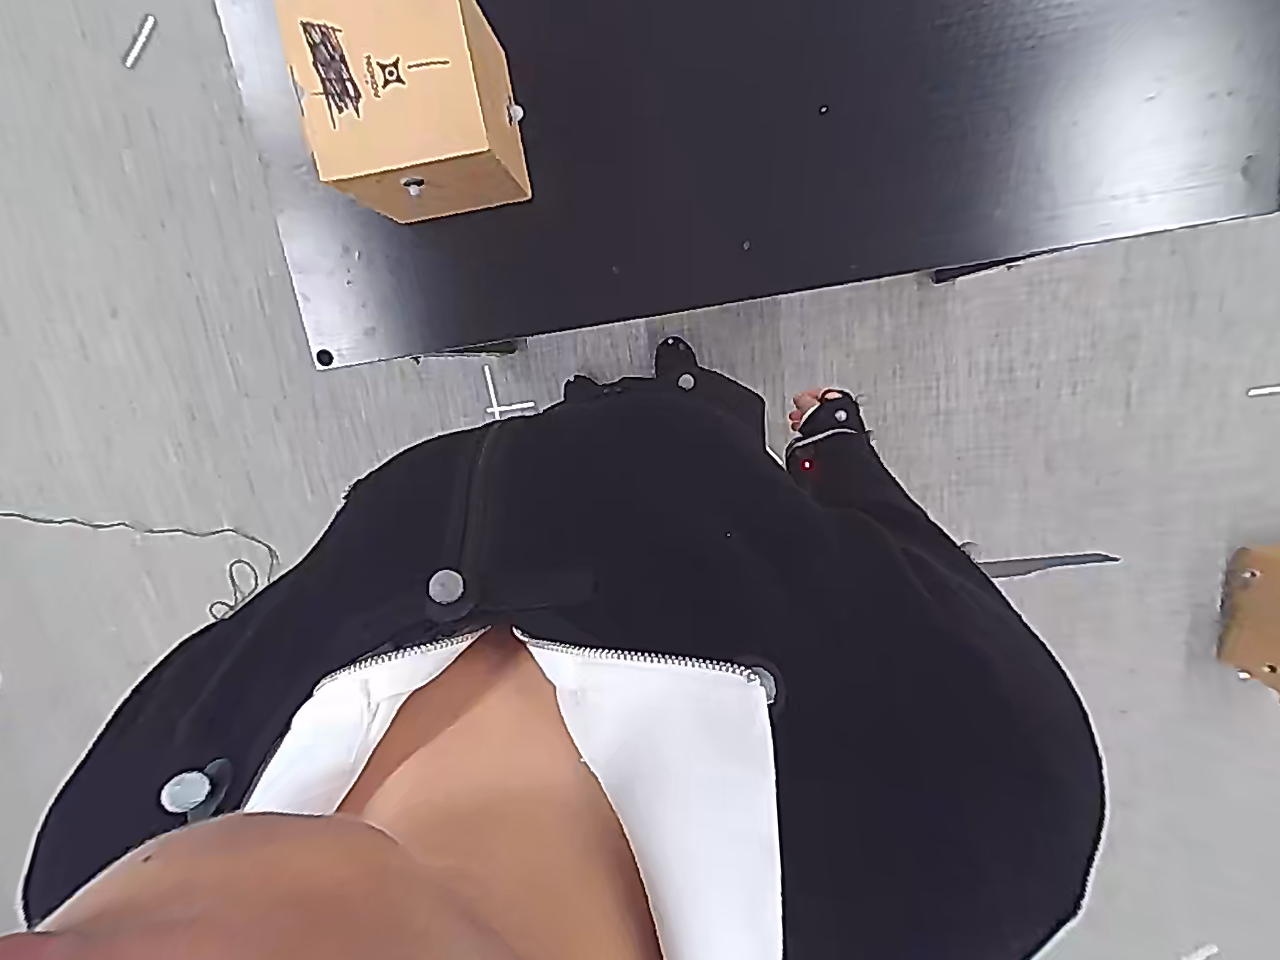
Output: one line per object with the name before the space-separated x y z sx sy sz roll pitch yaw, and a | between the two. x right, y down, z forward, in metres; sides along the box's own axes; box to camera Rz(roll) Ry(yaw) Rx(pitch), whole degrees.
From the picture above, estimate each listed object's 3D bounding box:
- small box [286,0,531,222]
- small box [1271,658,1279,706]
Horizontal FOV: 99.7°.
small box | -0.238 -0.405 0.602 0.179 0.176 0.168 -8 102 4
small box | 1.659 0.494 1.264 0.179 0.176 0.168 -6 103 6
